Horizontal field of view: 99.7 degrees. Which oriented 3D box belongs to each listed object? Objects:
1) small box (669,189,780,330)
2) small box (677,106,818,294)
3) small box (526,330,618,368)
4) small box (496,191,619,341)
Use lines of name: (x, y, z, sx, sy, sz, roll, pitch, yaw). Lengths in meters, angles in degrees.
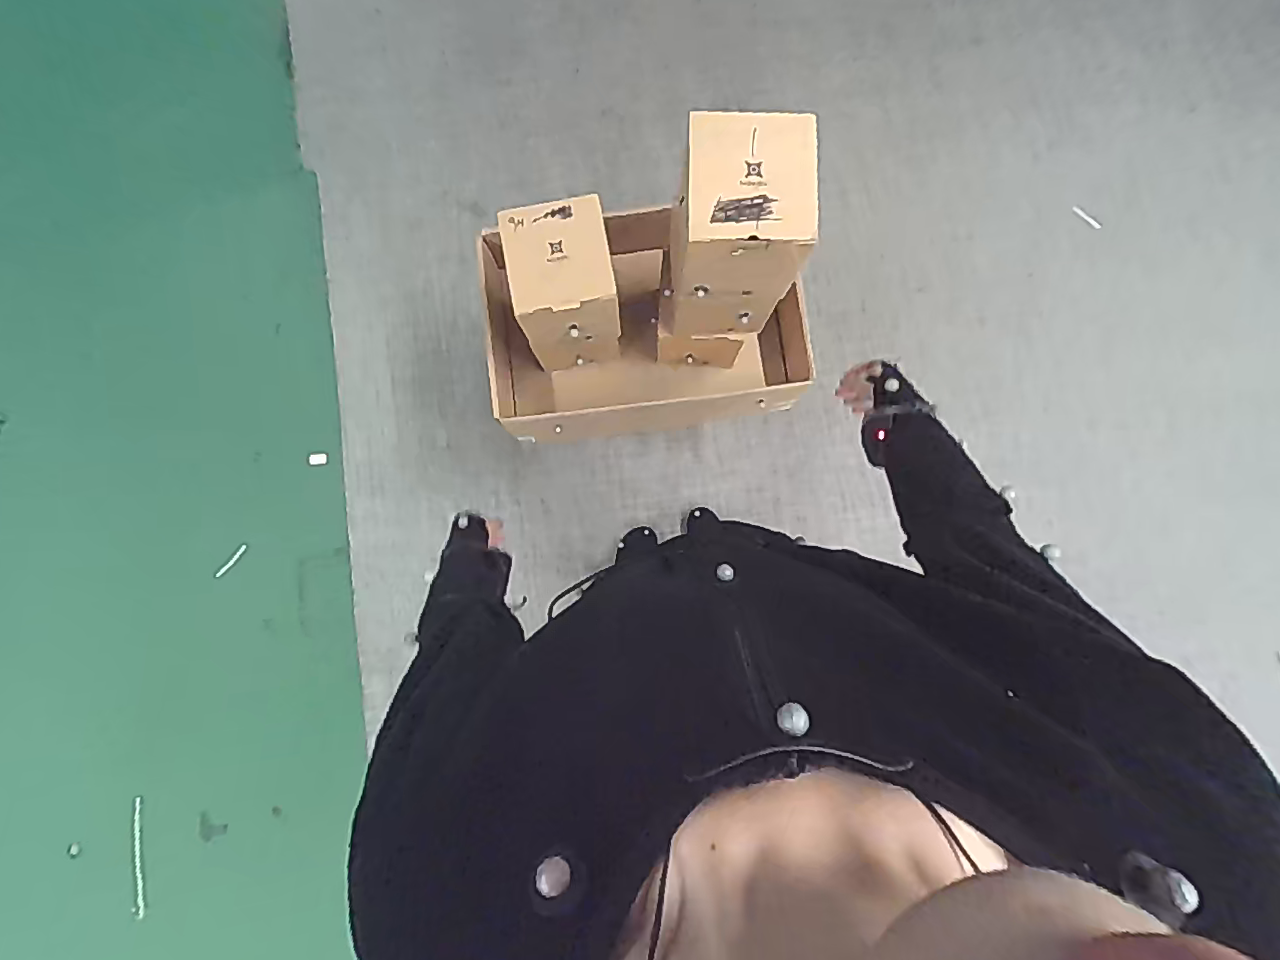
small box: (0.137, -0.363, 0.916, 0.168, 0.176, 0.179, -1, 84, 0)
small box: (0.140, -0.376, 0.754, 0.168, 0.176, 0.179, 2, 84, 0)
small box: (-0.140, -0.343, 1.078, 0.168, 0.176, 0.179, -10, 84, 0)
small box: (-0.130, -0.347, 0.914, 0.168, 0.176, 0.179, -10, 85, -1)
